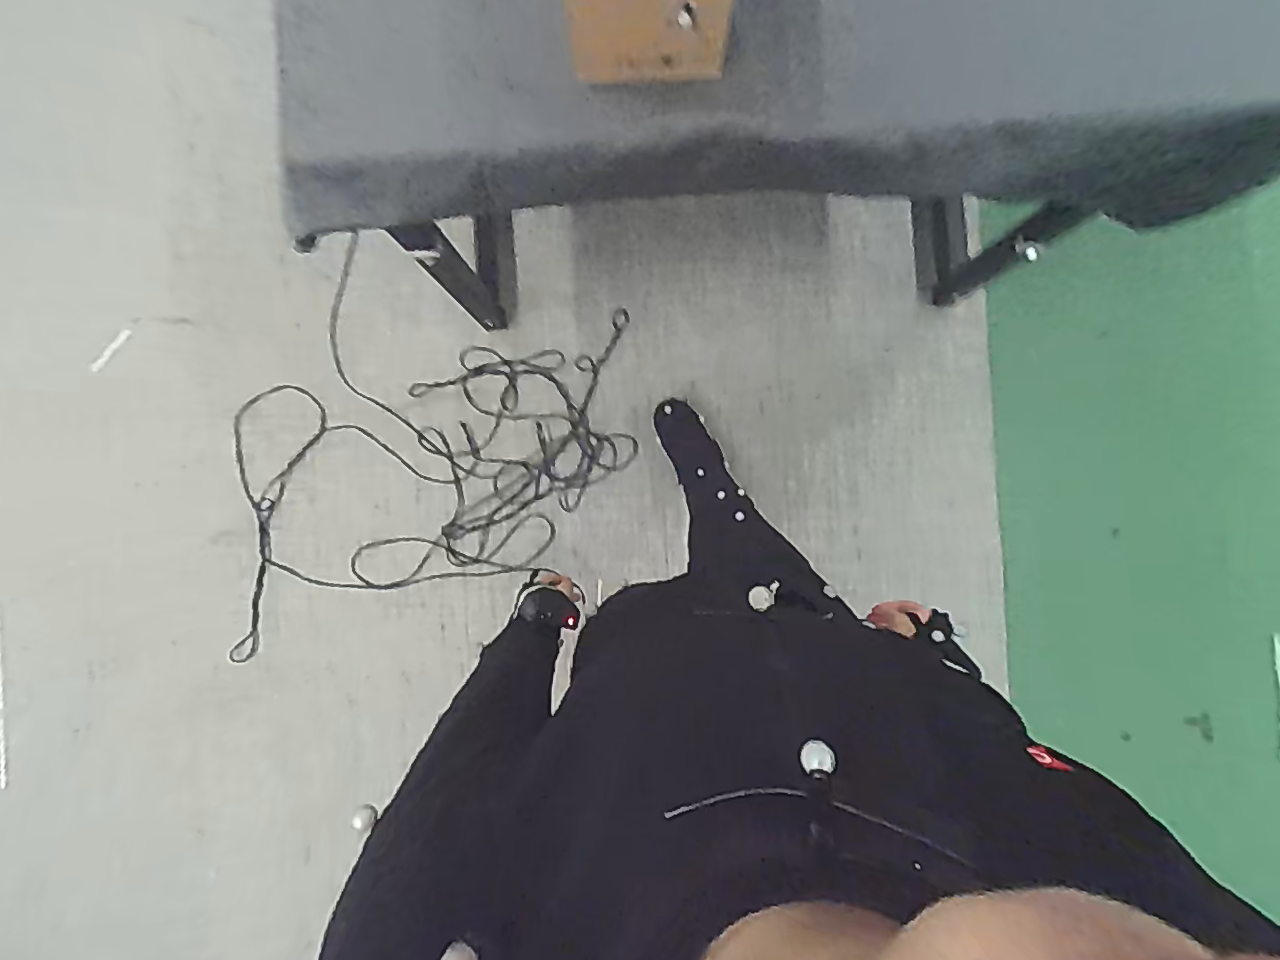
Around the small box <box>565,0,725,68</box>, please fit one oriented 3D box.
[{"bbox_3d":[0.004,-0.558,0.547,0.168,0.176,0.179,-3,87,-1],"label":"small box"}]
